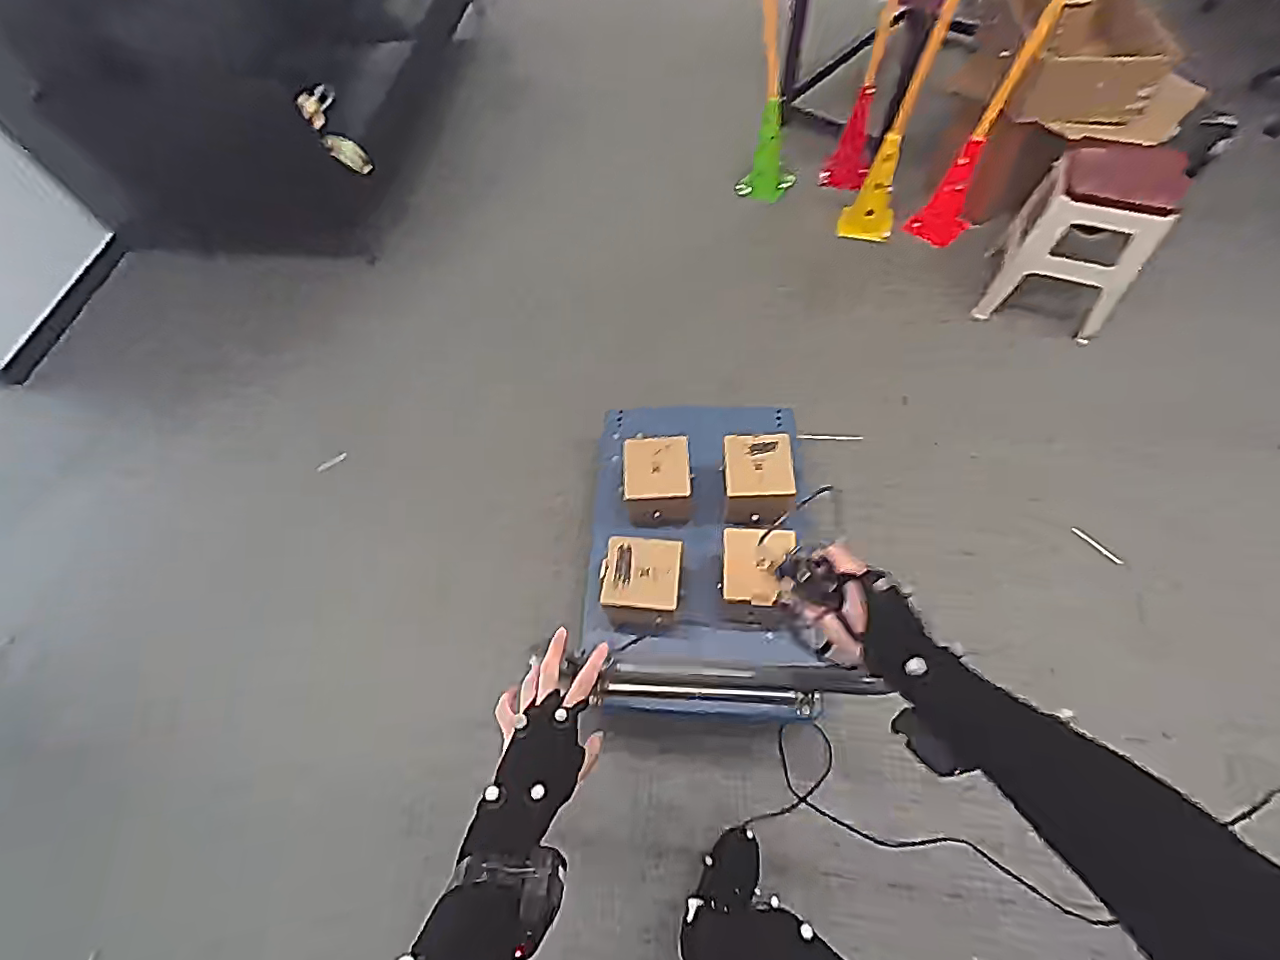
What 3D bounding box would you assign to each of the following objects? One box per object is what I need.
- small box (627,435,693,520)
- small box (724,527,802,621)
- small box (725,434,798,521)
[{"bbox_3d":[0.057,0.000,1.446,0.168,0.176,0.179,-2,62,4],"label":"small box"},{"bbox_3d":[0.289,0.228,1.302,0.168,0.176,0.179,2,63,7],"label":"small box"},{"bbox_3d":[0.313,-0.005,1.422,0.168,0.176,0.179,-1,63,6],"label":"small box"}]
